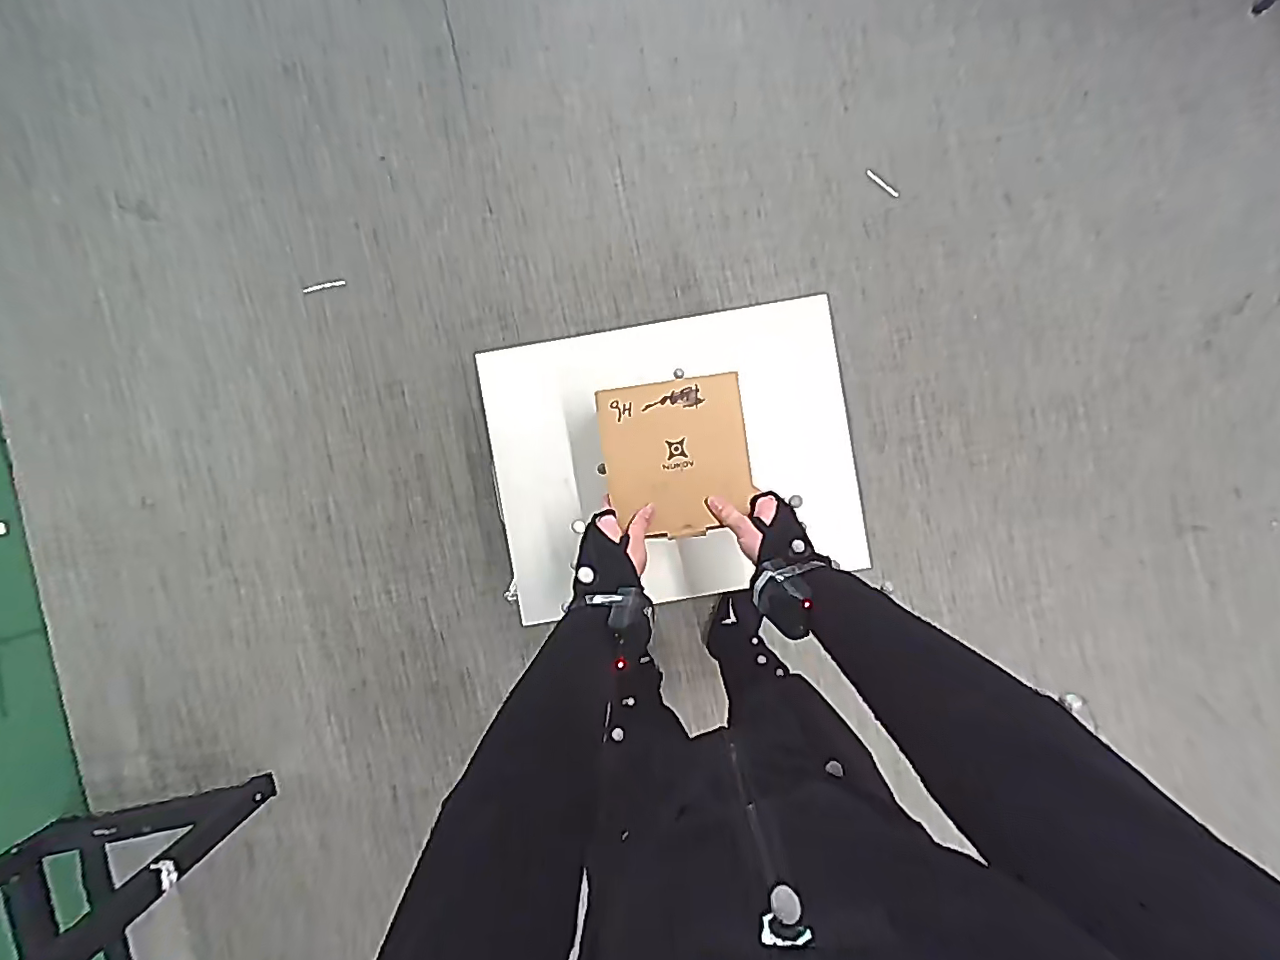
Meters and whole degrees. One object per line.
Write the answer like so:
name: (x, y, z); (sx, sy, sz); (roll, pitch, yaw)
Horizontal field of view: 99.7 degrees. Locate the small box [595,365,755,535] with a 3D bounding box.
small box: (0.042, -0.036, 0.701); (0.168, 0.176, 0.179); (-10, 91, 1)
